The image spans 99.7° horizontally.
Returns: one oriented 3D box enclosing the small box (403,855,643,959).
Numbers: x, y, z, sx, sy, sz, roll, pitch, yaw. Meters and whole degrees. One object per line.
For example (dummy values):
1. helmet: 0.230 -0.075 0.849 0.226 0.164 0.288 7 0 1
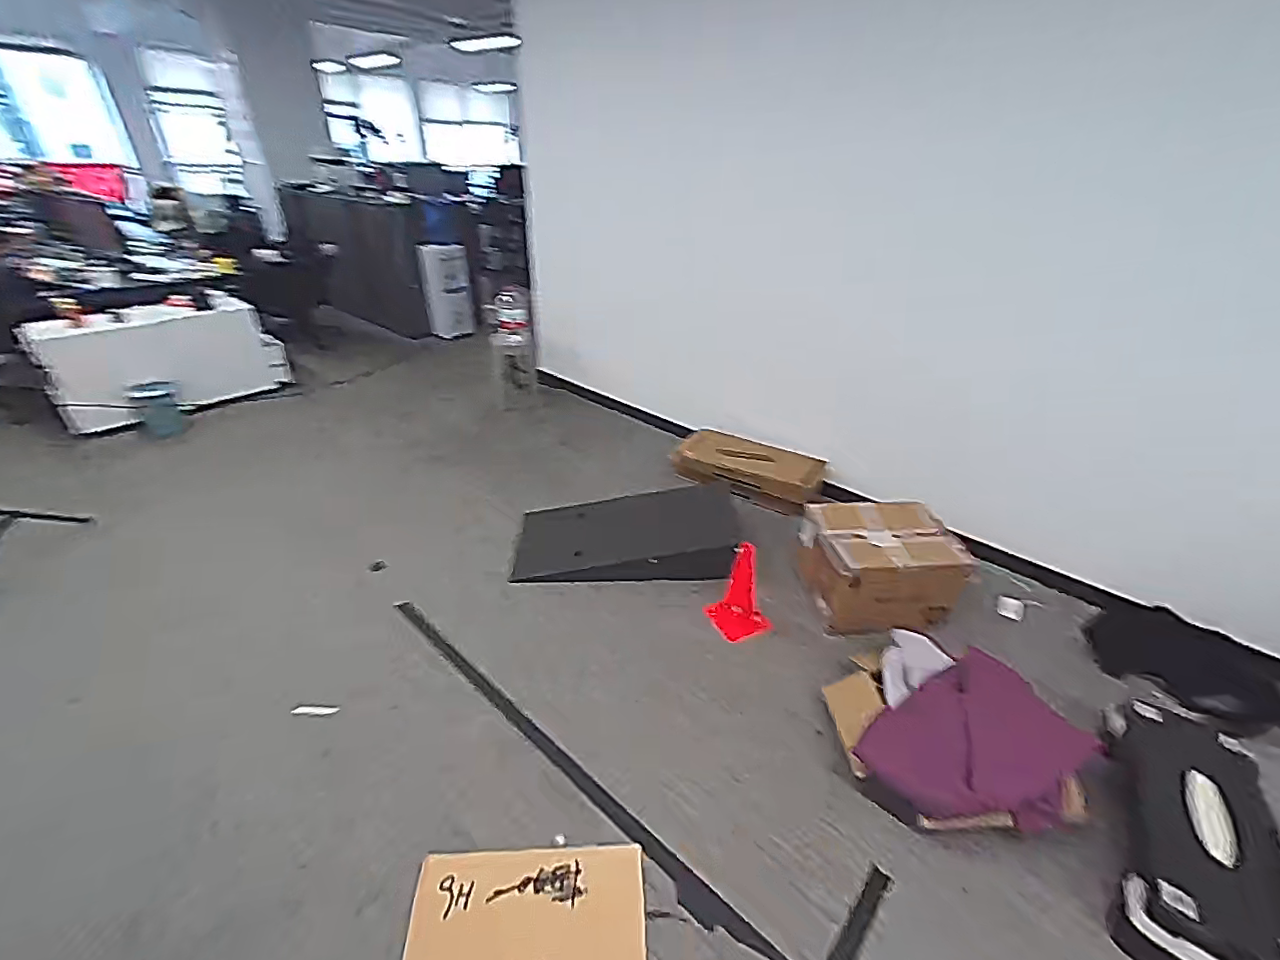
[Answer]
1. small box: -0.081 0.405 0.402 0.168 0.176 0.179 0 44 -6
